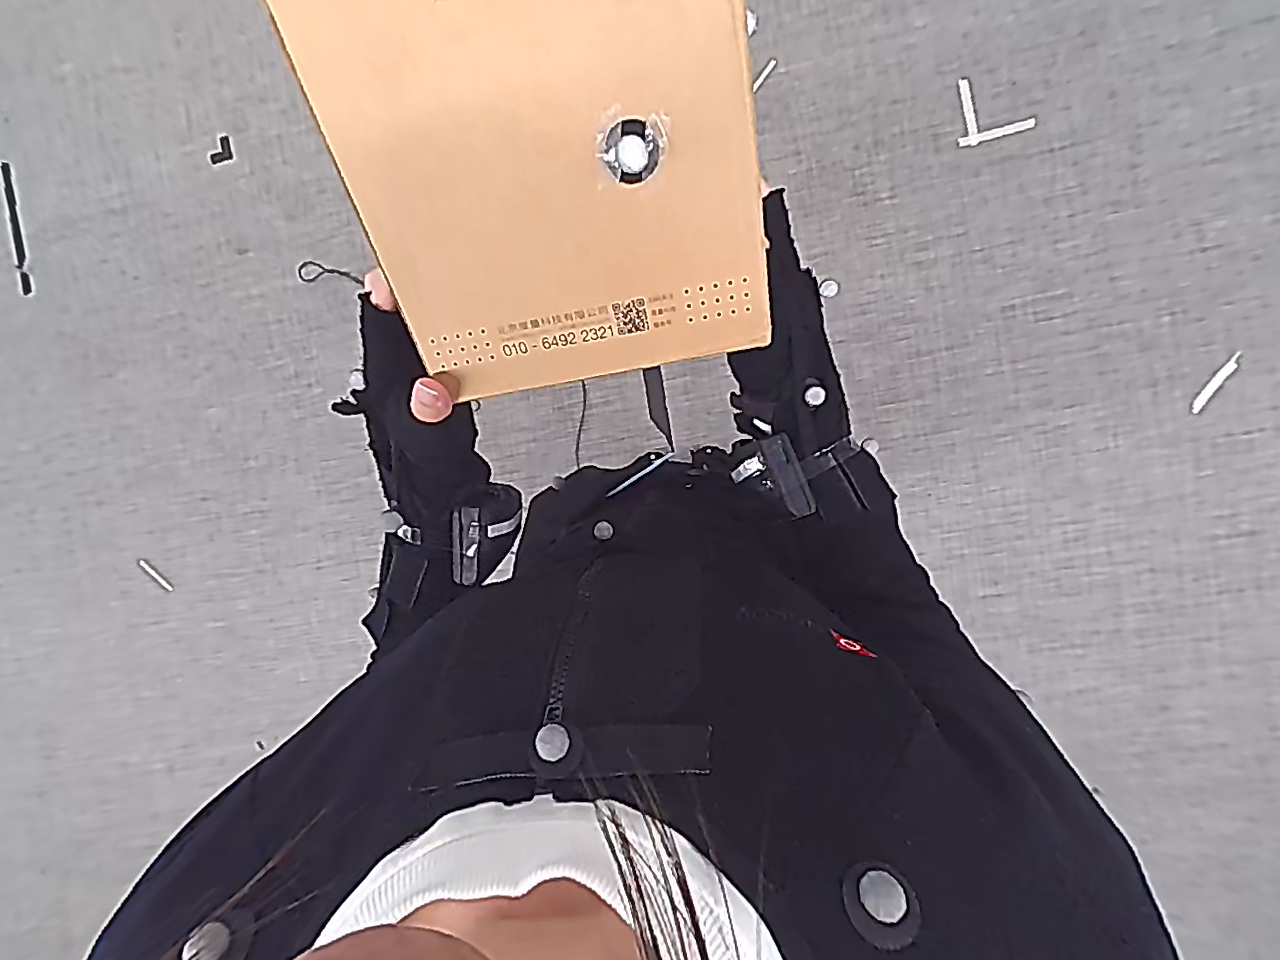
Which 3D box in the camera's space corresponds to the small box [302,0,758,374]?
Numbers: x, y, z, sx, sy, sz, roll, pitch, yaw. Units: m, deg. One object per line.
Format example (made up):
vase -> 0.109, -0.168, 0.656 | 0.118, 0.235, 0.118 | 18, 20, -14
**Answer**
small box -> -0.030, -0.169, 0.305 | 0.168, 0.179, 0.176 | -8, 123, 9
